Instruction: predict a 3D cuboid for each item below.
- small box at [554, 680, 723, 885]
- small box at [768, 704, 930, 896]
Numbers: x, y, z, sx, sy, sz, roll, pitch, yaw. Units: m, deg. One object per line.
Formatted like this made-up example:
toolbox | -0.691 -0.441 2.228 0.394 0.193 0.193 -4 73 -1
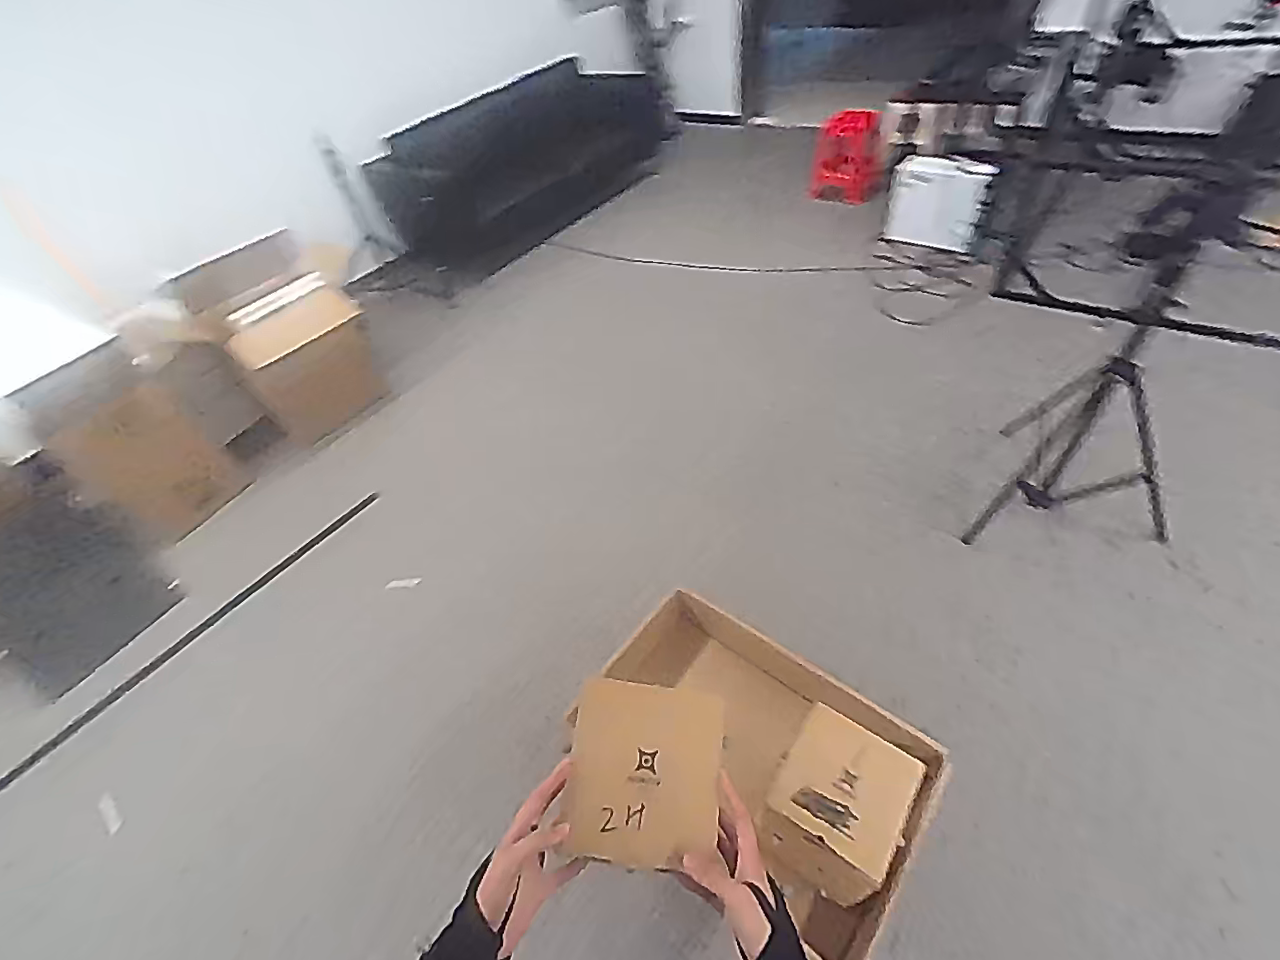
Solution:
small box | 0.001 0.355 0.648 0.168 0.176 0.179 7 61 2
small box | 0.308 0.488 0.823 0.168 0.176 0.179 26 56 28
